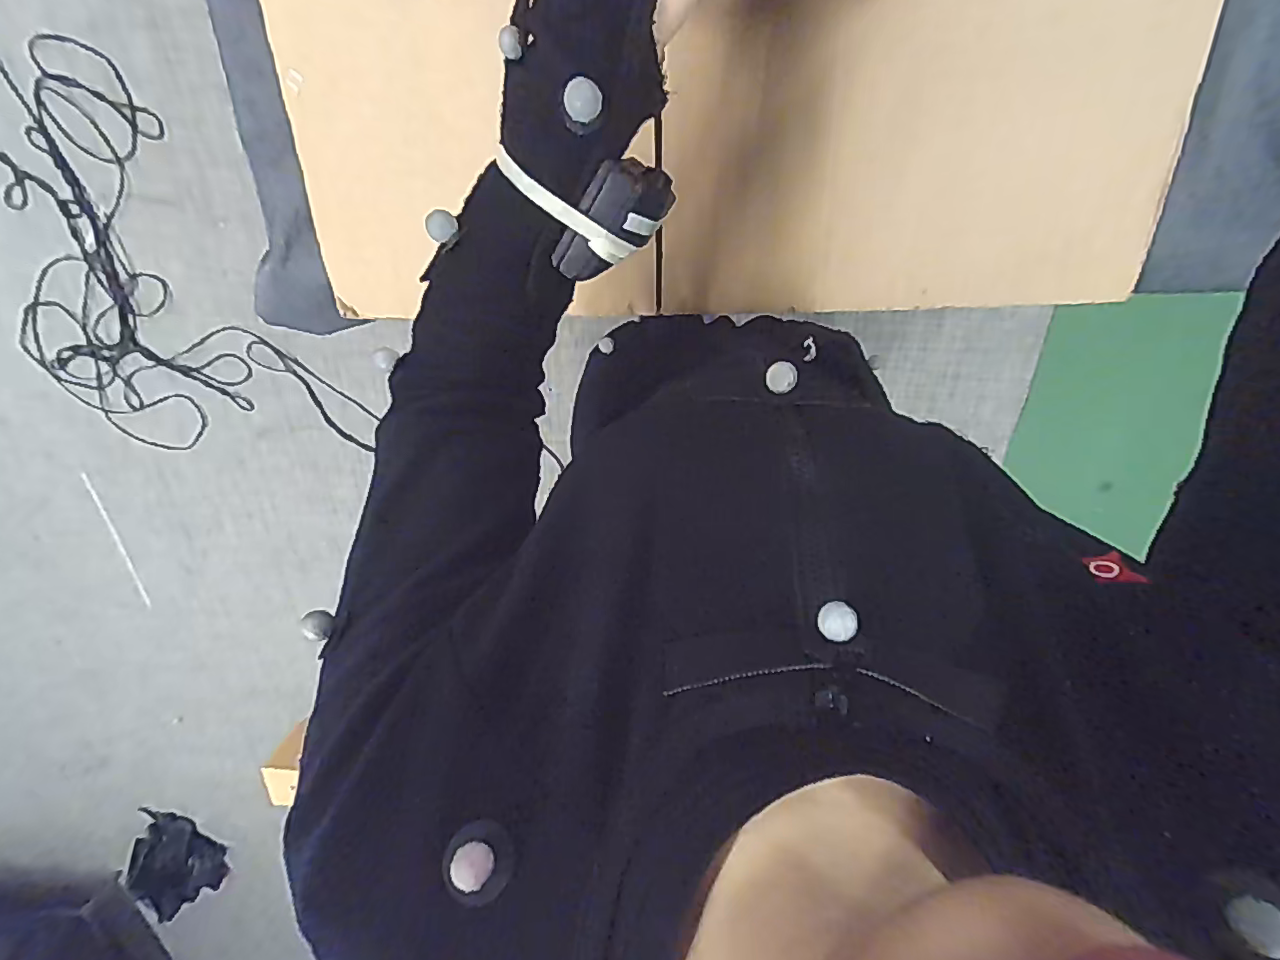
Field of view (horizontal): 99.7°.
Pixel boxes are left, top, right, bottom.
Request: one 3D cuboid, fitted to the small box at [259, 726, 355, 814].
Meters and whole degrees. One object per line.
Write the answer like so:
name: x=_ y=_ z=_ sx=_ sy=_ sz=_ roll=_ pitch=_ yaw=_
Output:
small box: x=-1.006 y=0.877 z=1.646 sx=0.179 sy=0.176 sz=0.168 roll=5 pitch=115 yaw=1
